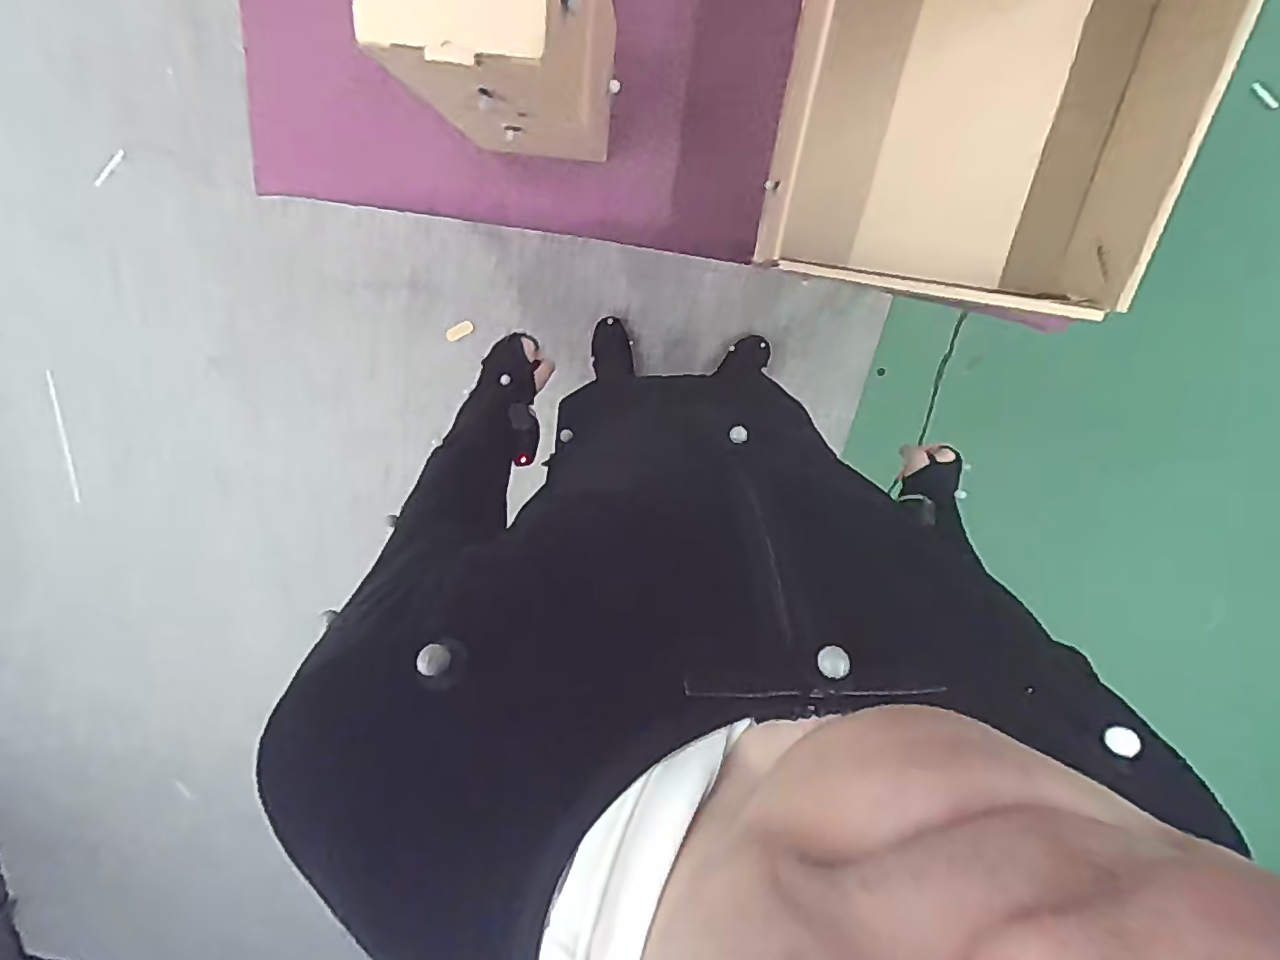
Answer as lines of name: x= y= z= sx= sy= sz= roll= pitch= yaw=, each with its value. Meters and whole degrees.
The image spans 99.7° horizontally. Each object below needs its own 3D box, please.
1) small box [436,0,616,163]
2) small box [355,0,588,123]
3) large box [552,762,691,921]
small box: x=-0.132 y=-0.507 z=0.664 sx=0.179 sy=0.176 sz=0.168 roll=7 pitch=108 yaw=2
small box: x=-0.144 y=-0.462 z=0.507 sx=0.168 sy=0.176 sz=0.179 roll=8 pitch=109 yaw=1
large box: x=-0.055 y=1.308 z=1.974 sx=0.408 sy=0.320 sz=0.320 roll=-20 pitch=106 yaw=10
